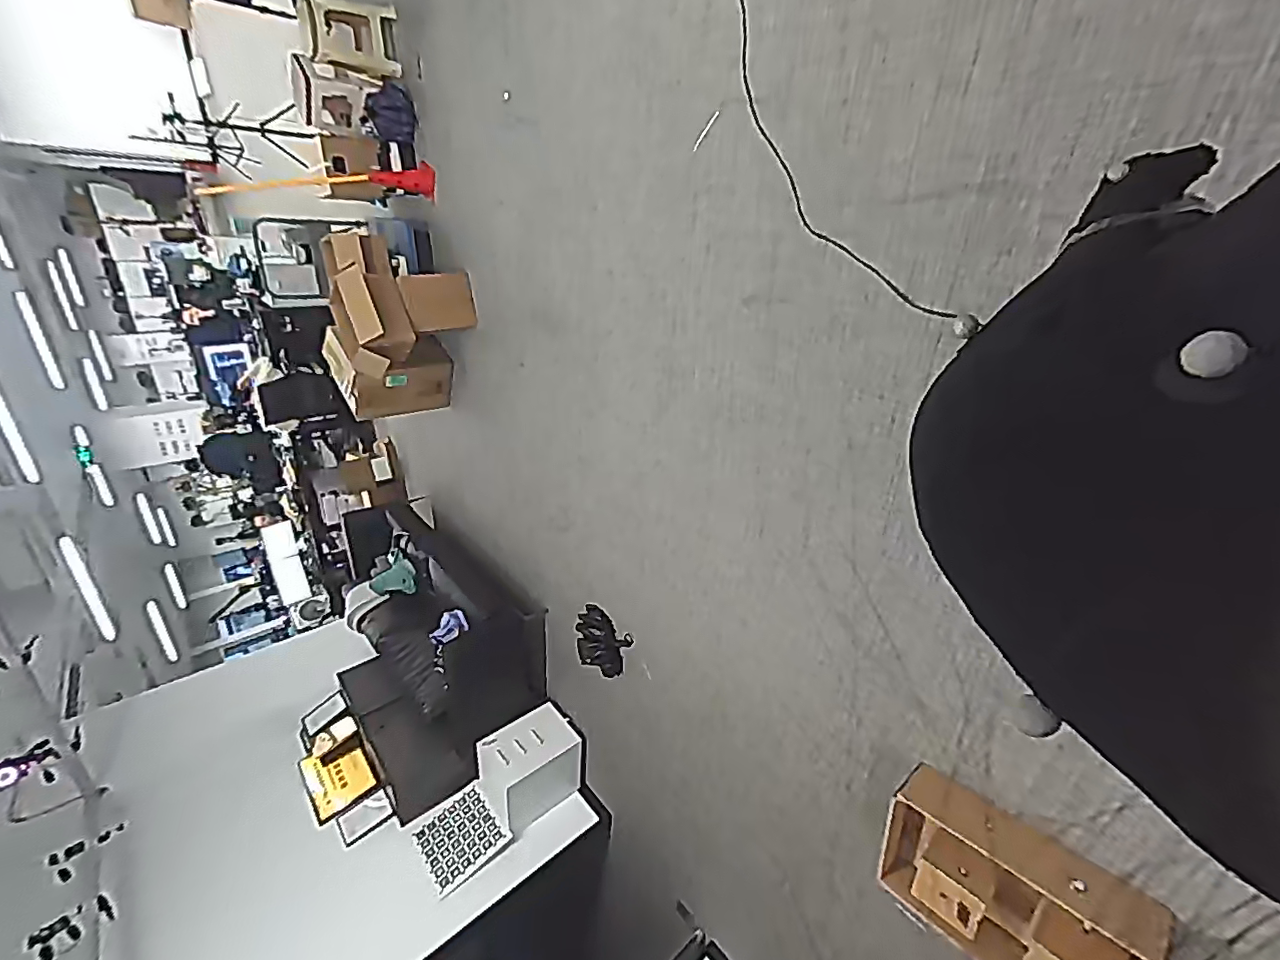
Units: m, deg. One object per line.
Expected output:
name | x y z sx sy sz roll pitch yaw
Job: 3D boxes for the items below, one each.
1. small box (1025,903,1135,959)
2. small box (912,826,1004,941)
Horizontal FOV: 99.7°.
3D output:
small box | 1.118 1.238 1.383 0.179 0.176 0.168 18 119 48
small box | 0.933 1.169 1.583 0.179 0.176 0.168 23 121 44
